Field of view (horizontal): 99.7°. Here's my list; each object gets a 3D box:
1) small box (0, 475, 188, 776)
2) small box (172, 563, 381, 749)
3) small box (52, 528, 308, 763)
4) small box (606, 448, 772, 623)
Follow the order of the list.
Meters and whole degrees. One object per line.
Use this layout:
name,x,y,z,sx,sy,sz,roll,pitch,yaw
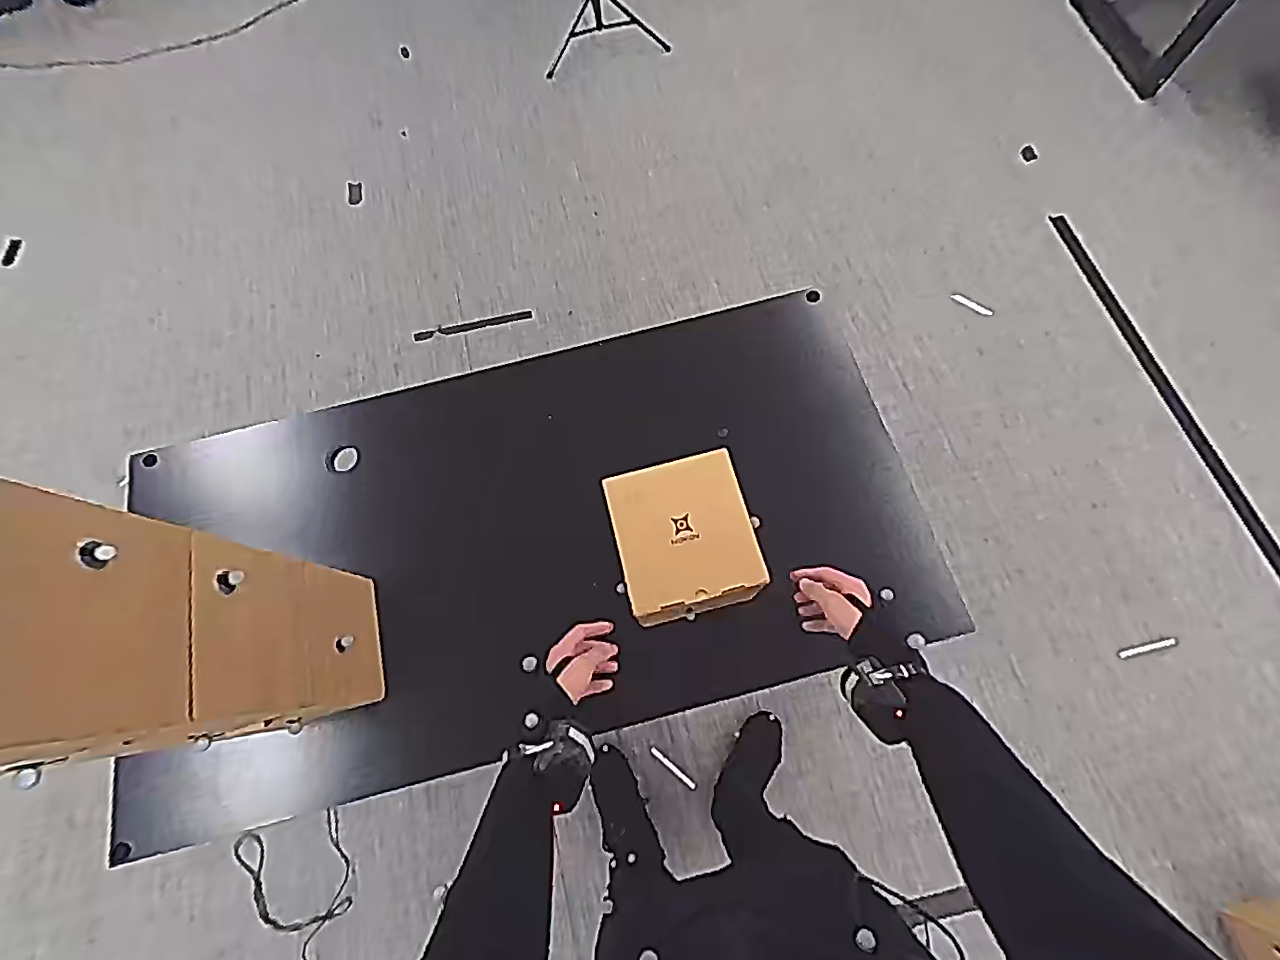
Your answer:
small box,-0.475,0.117,0.393,0.168,0.176,0.179,-16,72,-1
small box,-0.461,0.223,0.703,0.168,0.176,0.179,-16,72,-3
small box,-0.469,0.169,0.547,0.168,0.176,0.179,-16,72,-2
small box,0.057,0.083,0.724,0.168,0.176,0.179,-15,72,-2
